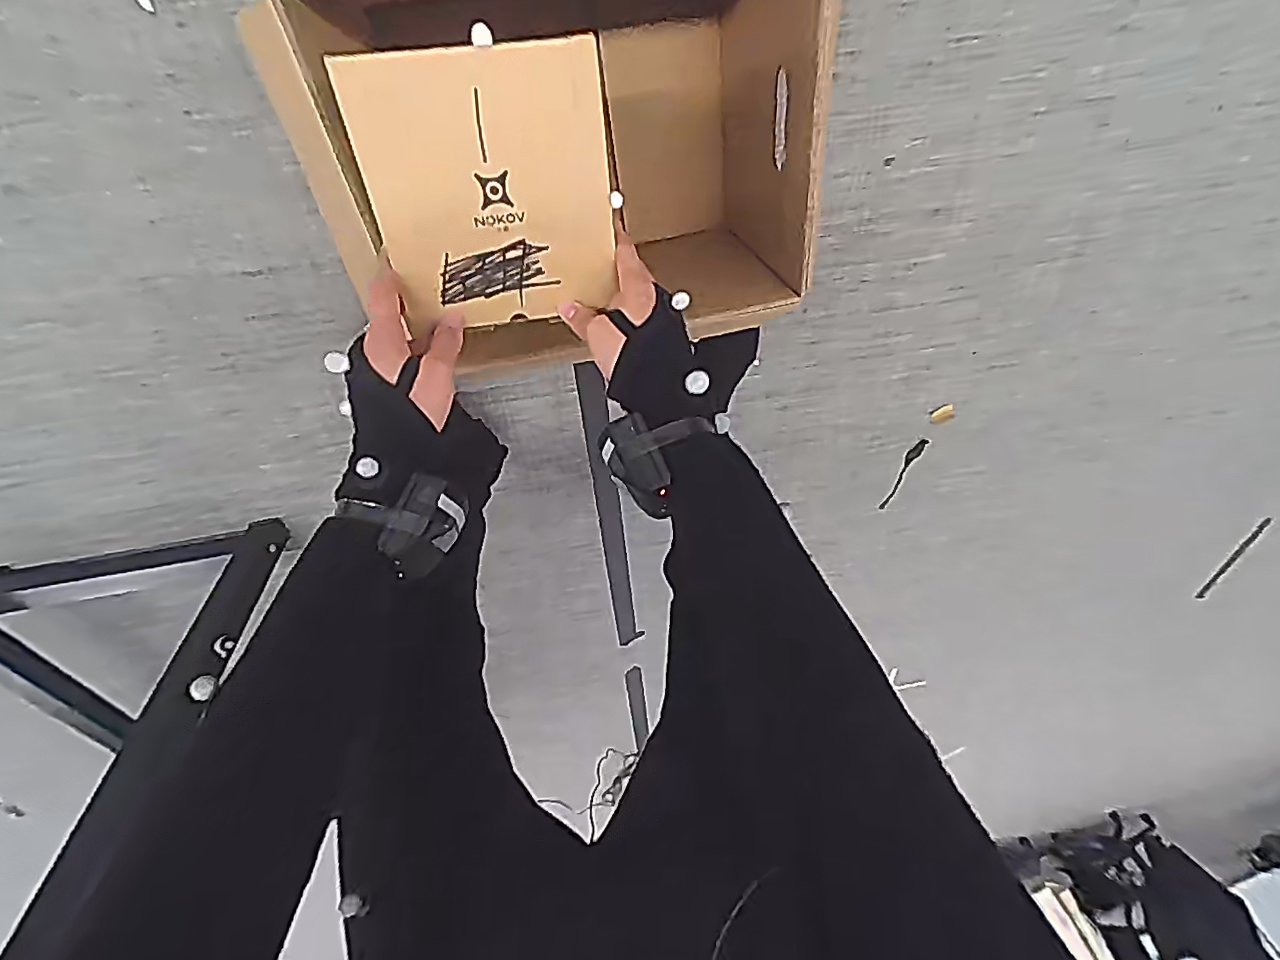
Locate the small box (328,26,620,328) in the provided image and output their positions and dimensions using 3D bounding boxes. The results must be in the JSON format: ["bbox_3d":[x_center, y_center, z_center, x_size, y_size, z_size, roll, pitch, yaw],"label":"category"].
[{"bbox_3d":[-0.111,-0.245,0.439,0.168,0.176,0.179,-9,126,-5],"label":"small box"}]
